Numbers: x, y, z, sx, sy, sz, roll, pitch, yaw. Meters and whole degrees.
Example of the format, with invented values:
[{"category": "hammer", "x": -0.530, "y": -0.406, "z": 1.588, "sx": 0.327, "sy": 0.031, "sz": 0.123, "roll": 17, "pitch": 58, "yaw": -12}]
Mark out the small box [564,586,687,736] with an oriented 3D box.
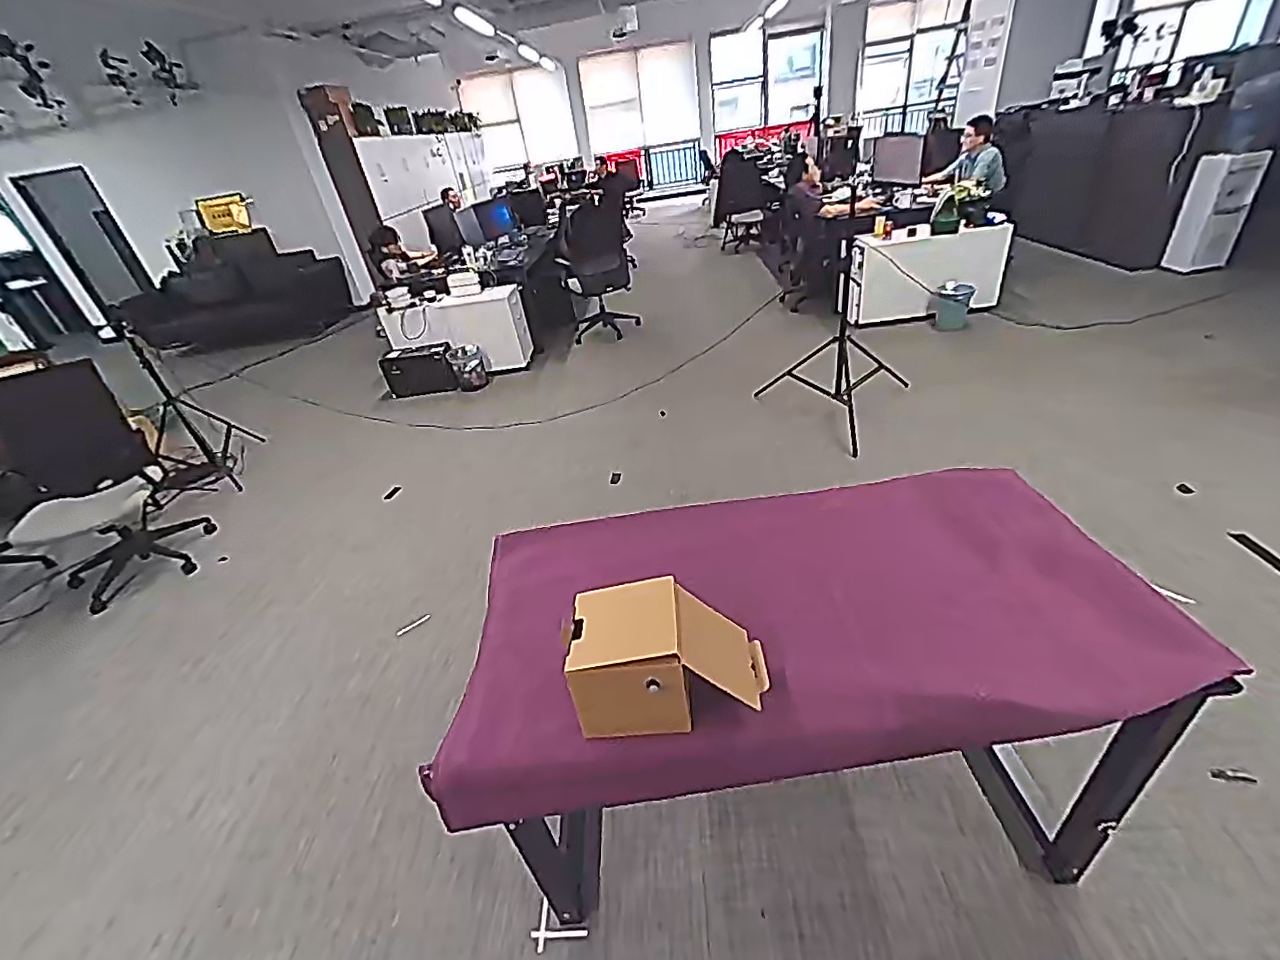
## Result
[{"category": "small box", "x": -0.014, "y": 0.300, "z": 0.897, "sx": 0.179, "sy": 0.176, "sz": 0.168, "roll": -6, "pitch": 31, "yaw": 5}]
